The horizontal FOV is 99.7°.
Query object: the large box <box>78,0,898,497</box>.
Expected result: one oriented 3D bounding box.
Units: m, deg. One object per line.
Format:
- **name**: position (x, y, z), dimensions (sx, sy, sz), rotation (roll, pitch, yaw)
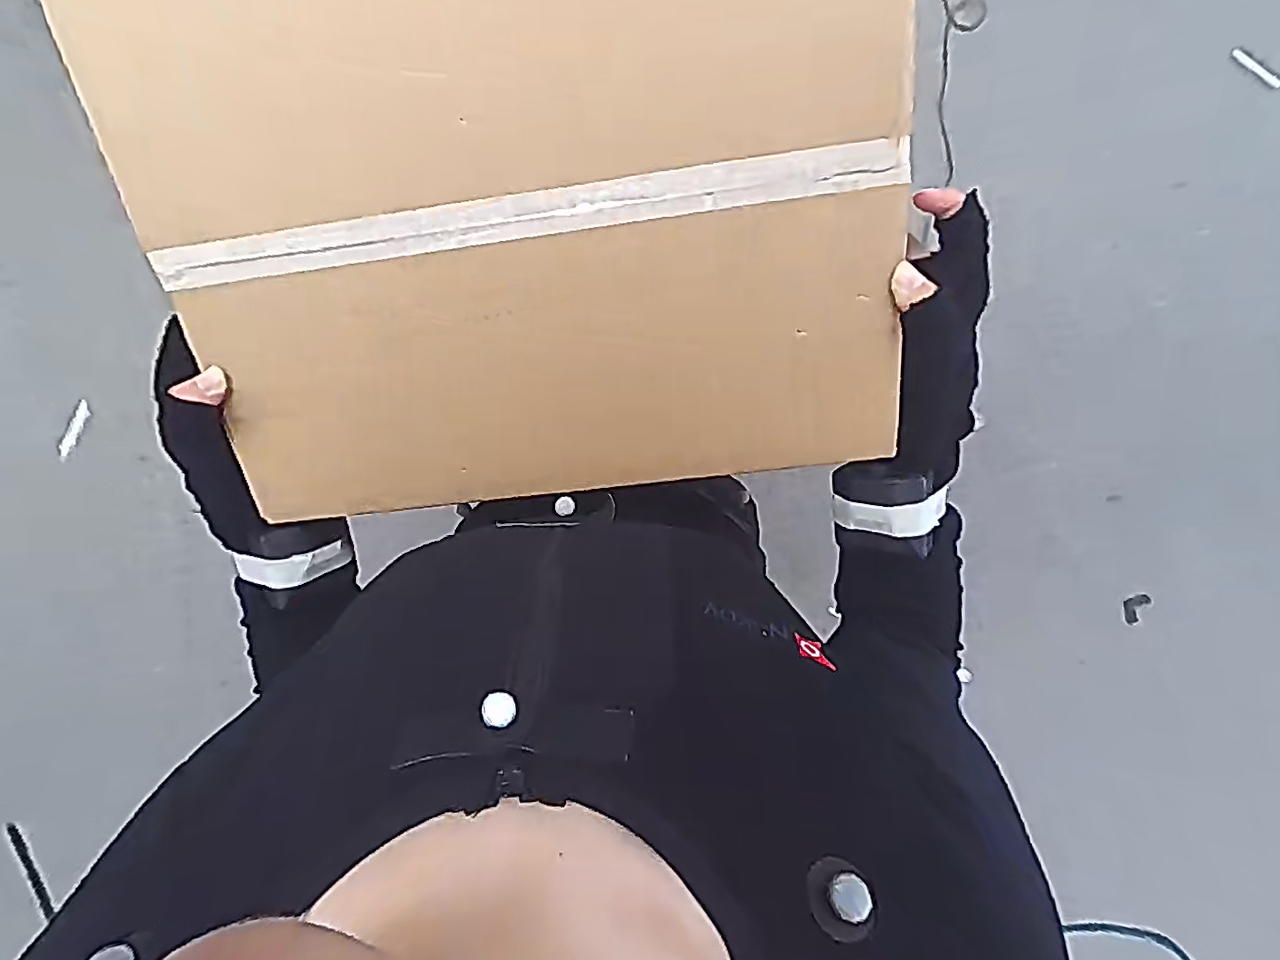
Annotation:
- **large box**: position (-0.064, -0.205, 0.432), dimensions (0.408, 0.320, 0.320), rotation (-6, 112, 4)
